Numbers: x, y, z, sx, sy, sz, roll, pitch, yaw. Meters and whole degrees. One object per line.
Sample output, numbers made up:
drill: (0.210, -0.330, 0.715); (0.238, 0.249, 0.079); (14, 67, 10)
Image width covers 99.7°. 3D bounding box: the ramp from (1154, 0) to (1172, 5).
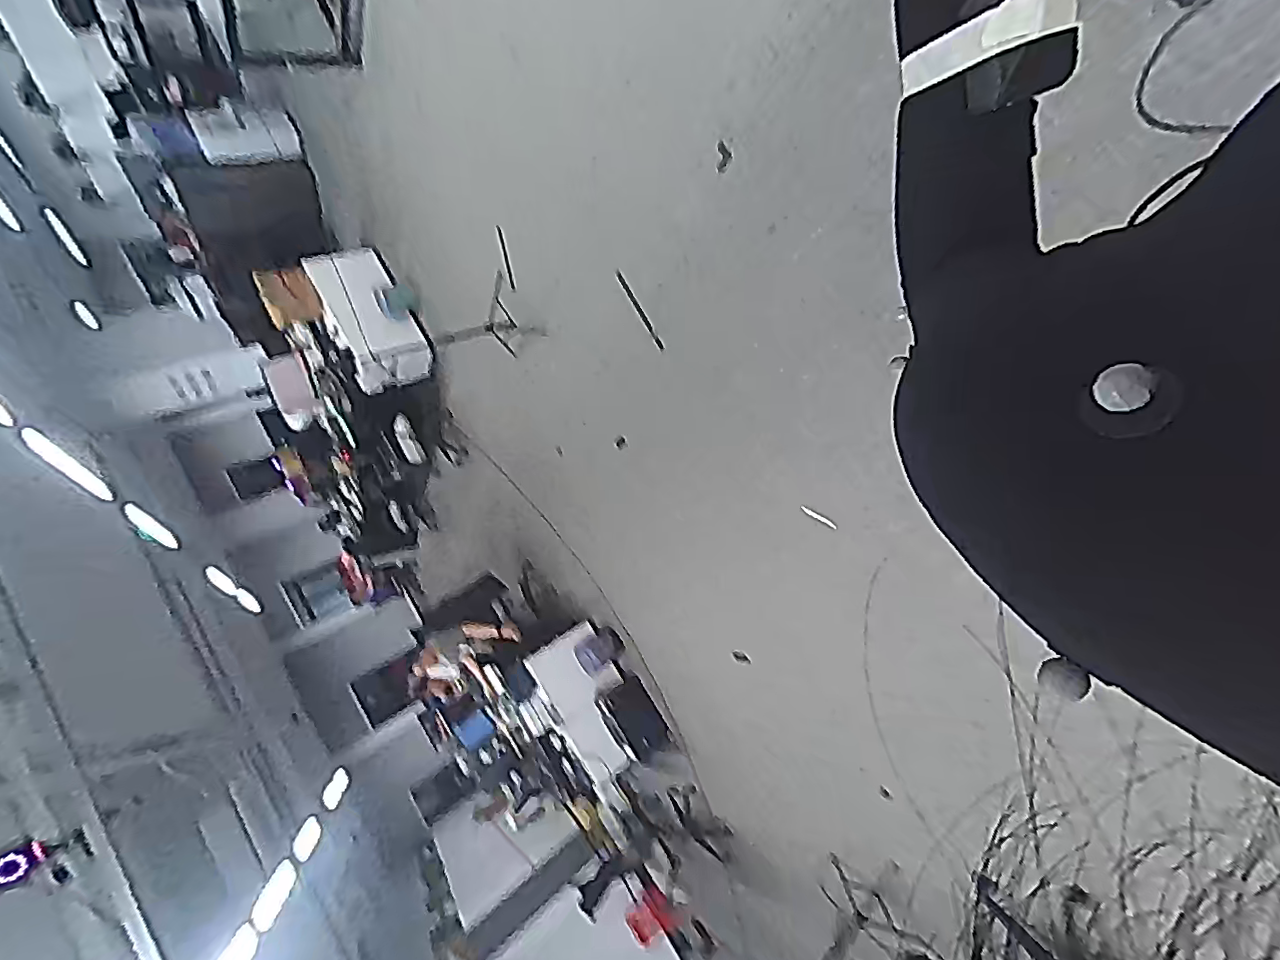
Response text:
ramp: (0.689, -1.279, 0.727); (0.991, 0.206, 0.509); (57, 146, 6)
